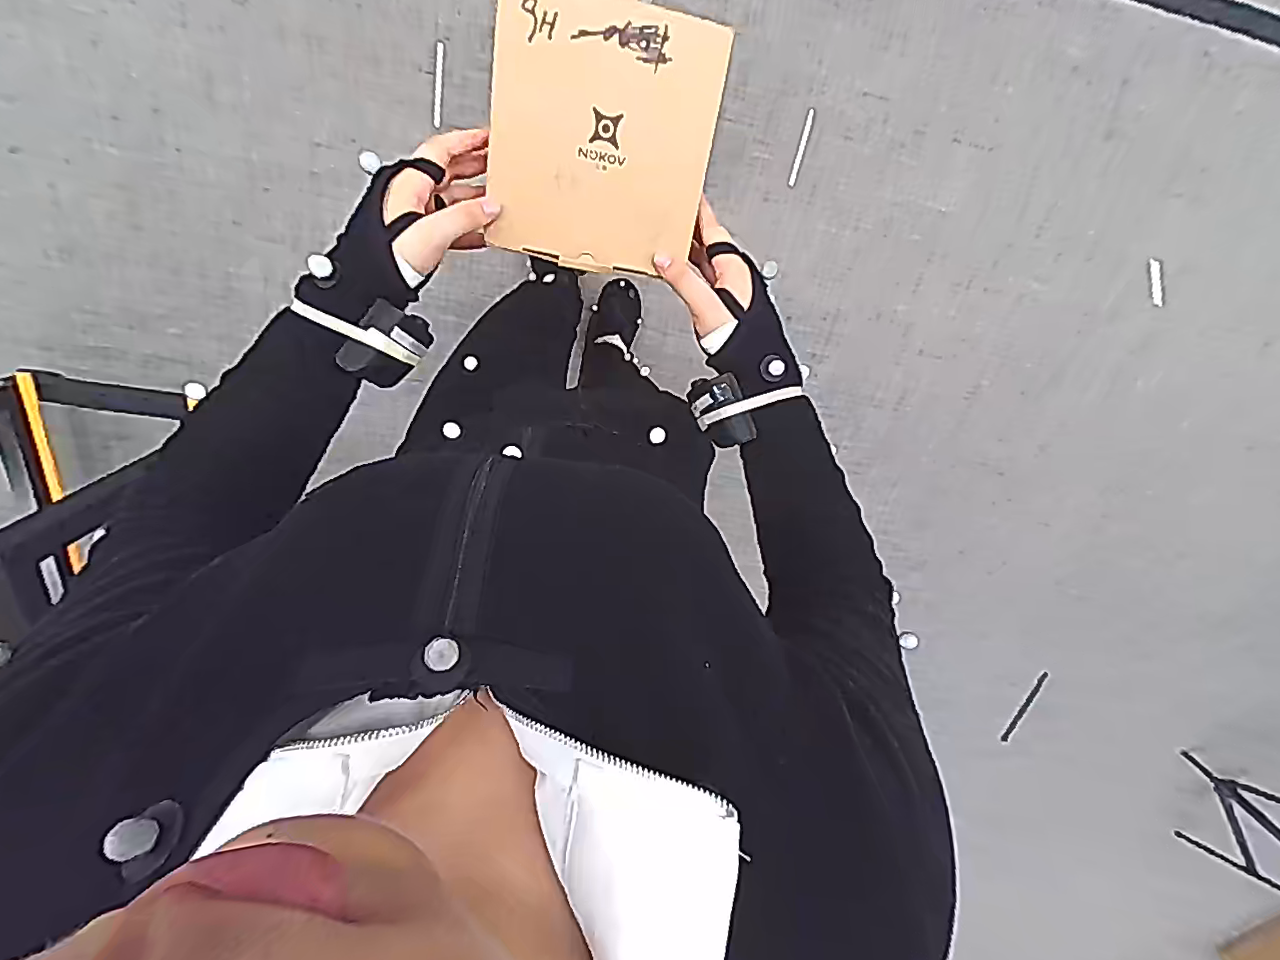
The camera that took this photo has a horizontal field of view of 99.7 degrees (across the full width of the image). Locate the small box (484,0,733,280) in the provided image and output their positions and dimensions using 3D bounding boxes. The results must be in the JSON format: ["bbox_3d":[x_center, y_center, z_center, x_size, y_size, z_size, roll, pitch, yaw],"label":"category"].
[{"bbox_3d":[-0.036,-0.291,0.476,0.168,0.176,0.179,7,115,-11],"label":"small box"}]
